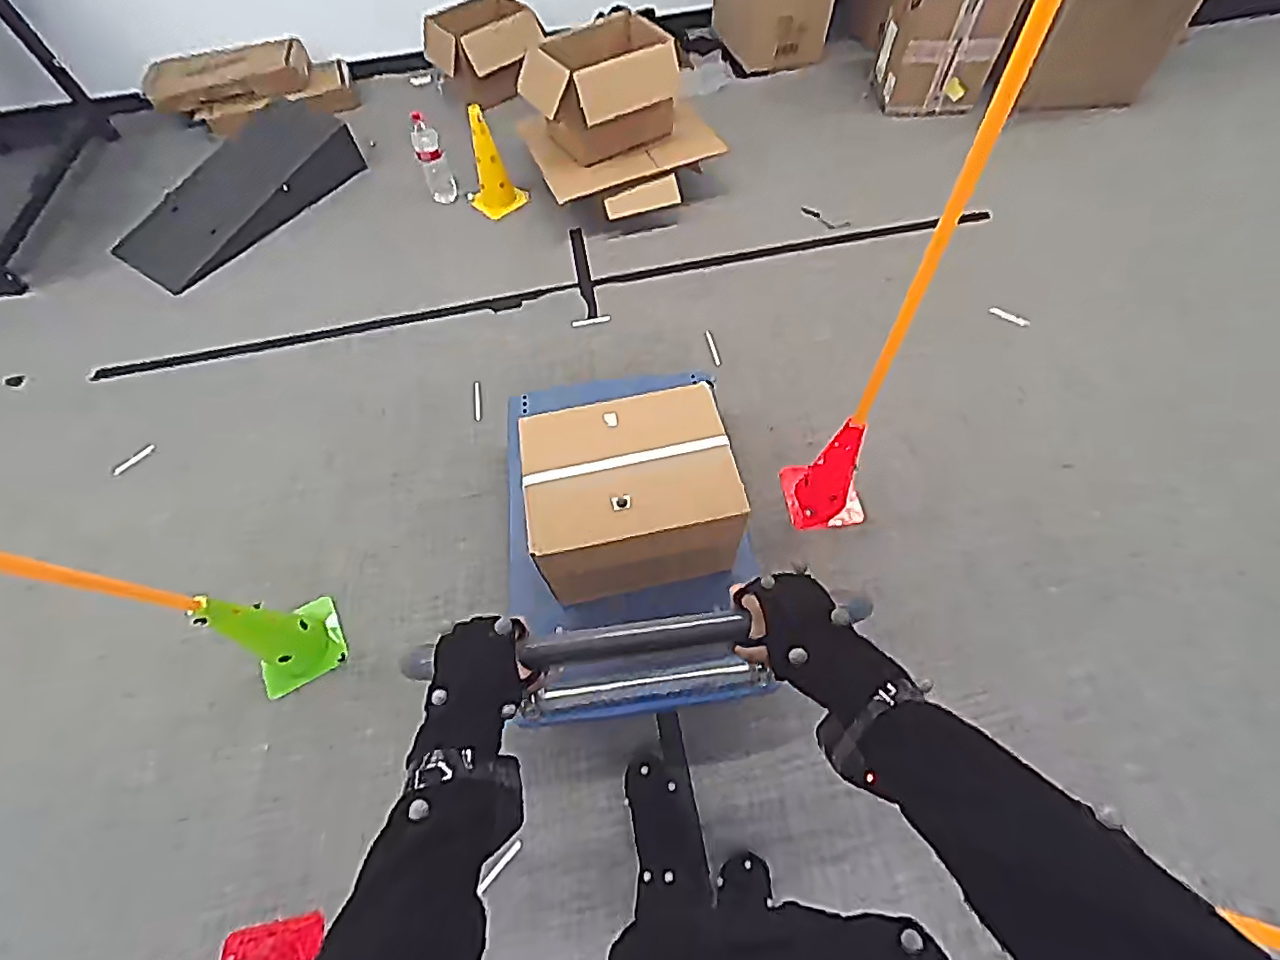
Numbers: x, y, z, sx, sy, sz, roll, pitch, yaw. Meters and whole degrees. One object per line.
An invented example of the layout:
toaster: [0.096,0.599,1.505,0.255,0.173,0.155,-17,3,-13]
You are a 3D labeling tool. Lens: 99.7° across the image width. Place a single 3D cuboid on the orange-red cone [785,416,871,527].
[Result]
orange-red cone: [0.511,-0.044,1.369,0.199,0.360,0.198,-5,61,-1]
